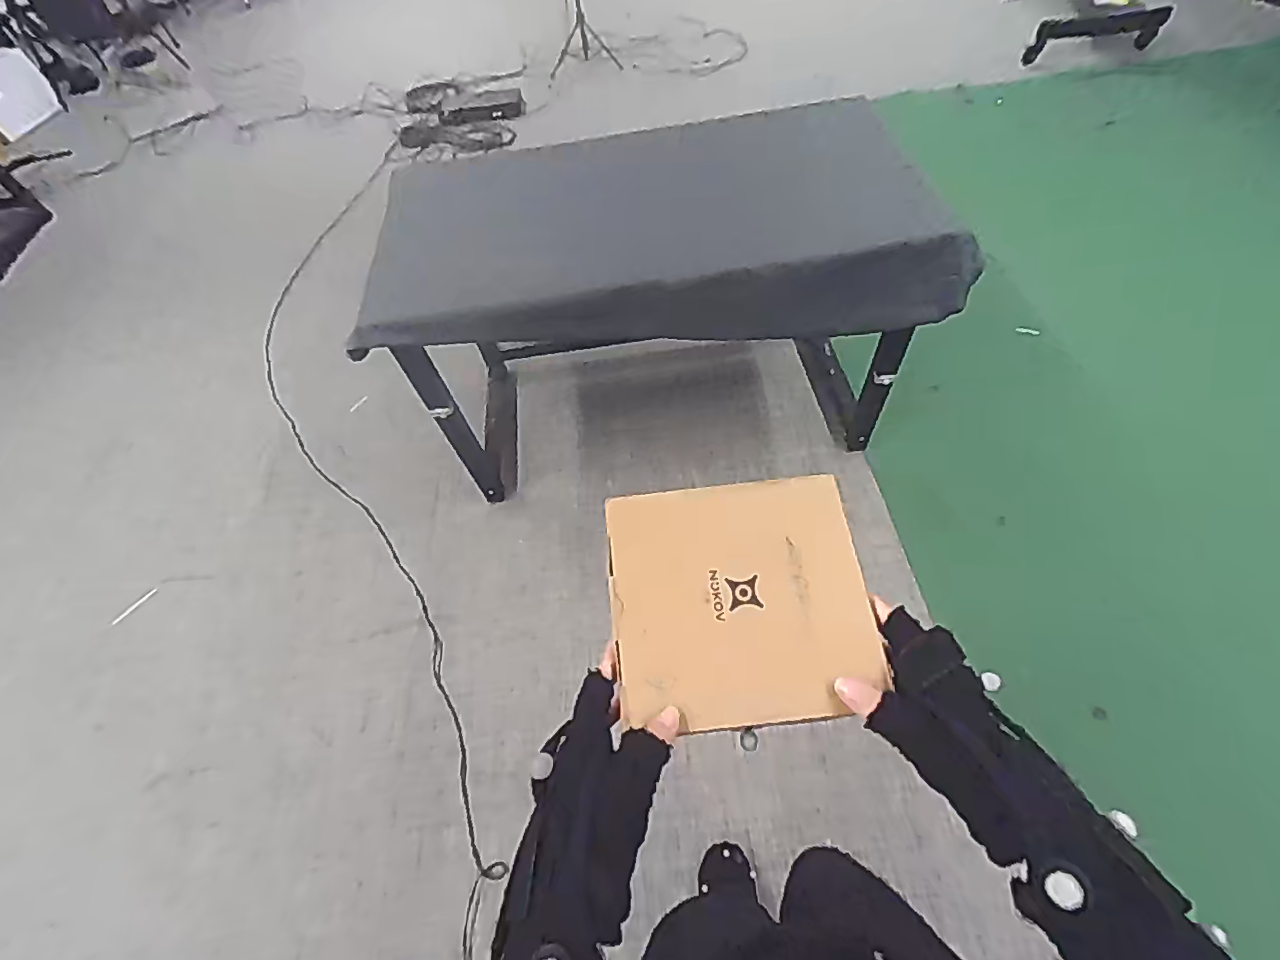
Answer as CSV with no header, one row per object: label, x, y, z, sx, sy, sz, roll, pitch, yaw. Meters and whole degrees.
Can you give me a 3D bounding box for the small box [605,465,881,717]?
small box,0.069,0.104,0.462,0.179,0.176,0.168,-6,65,-2
